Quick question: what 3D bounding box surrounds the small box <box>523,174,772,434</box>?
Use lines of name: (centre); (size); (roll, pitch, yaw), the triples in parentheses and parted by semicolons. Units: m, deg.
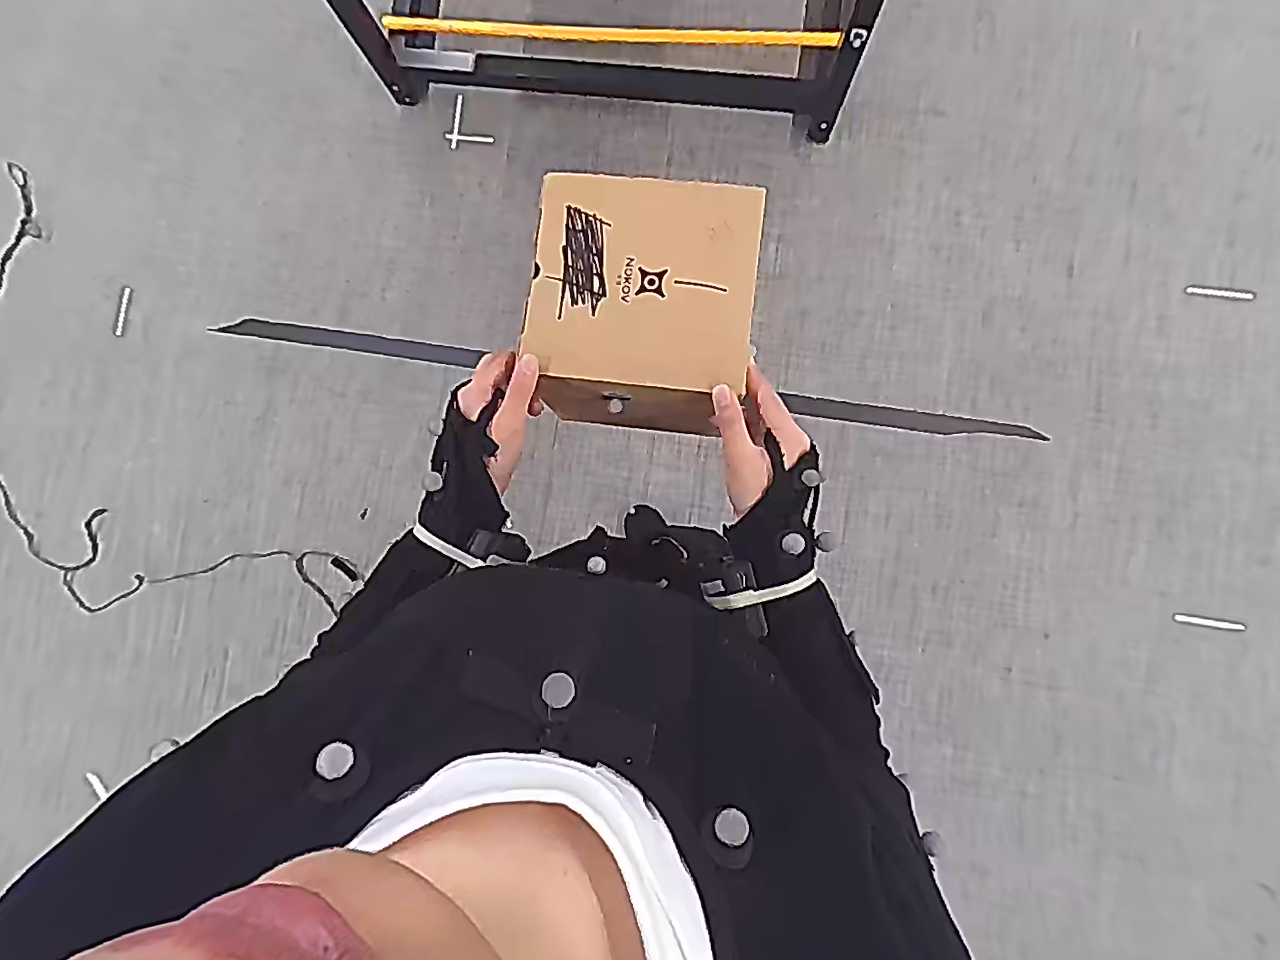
small box: (0.011, -0.143, 0.492); (0.179, 0.176, 0.168); (7, 84, 4)
